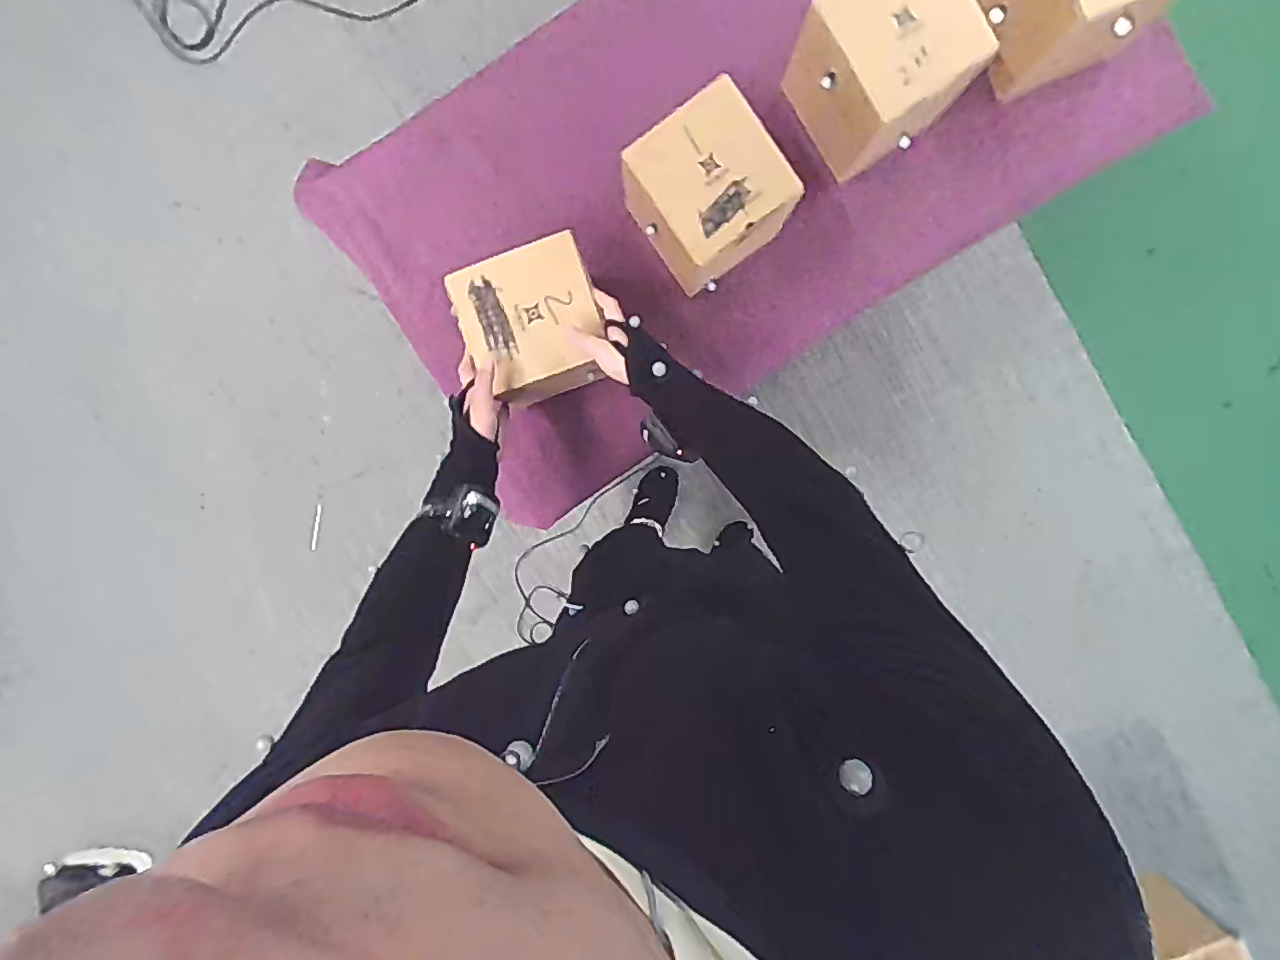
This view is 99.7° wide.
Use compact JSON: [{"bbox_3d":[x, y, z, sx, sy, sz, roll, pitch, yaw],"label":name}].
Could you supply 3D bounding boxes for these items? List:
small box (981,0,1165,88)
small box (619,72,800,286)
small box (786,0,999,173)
[{"bbox_3d":[0.585,-0.675,0.712,0.179,0.176,0.168,-22,95,5],"label":"small box"},{"bbox_3d":[0.091,-0.395,0.755,0.168,0.176,0.179,-36,93,4],"label":"small box"},{"bbox_3d":[0.322,-0.565,0.730,0.168,0.176,0.179,-33,94,5],"label":"small box"}]
